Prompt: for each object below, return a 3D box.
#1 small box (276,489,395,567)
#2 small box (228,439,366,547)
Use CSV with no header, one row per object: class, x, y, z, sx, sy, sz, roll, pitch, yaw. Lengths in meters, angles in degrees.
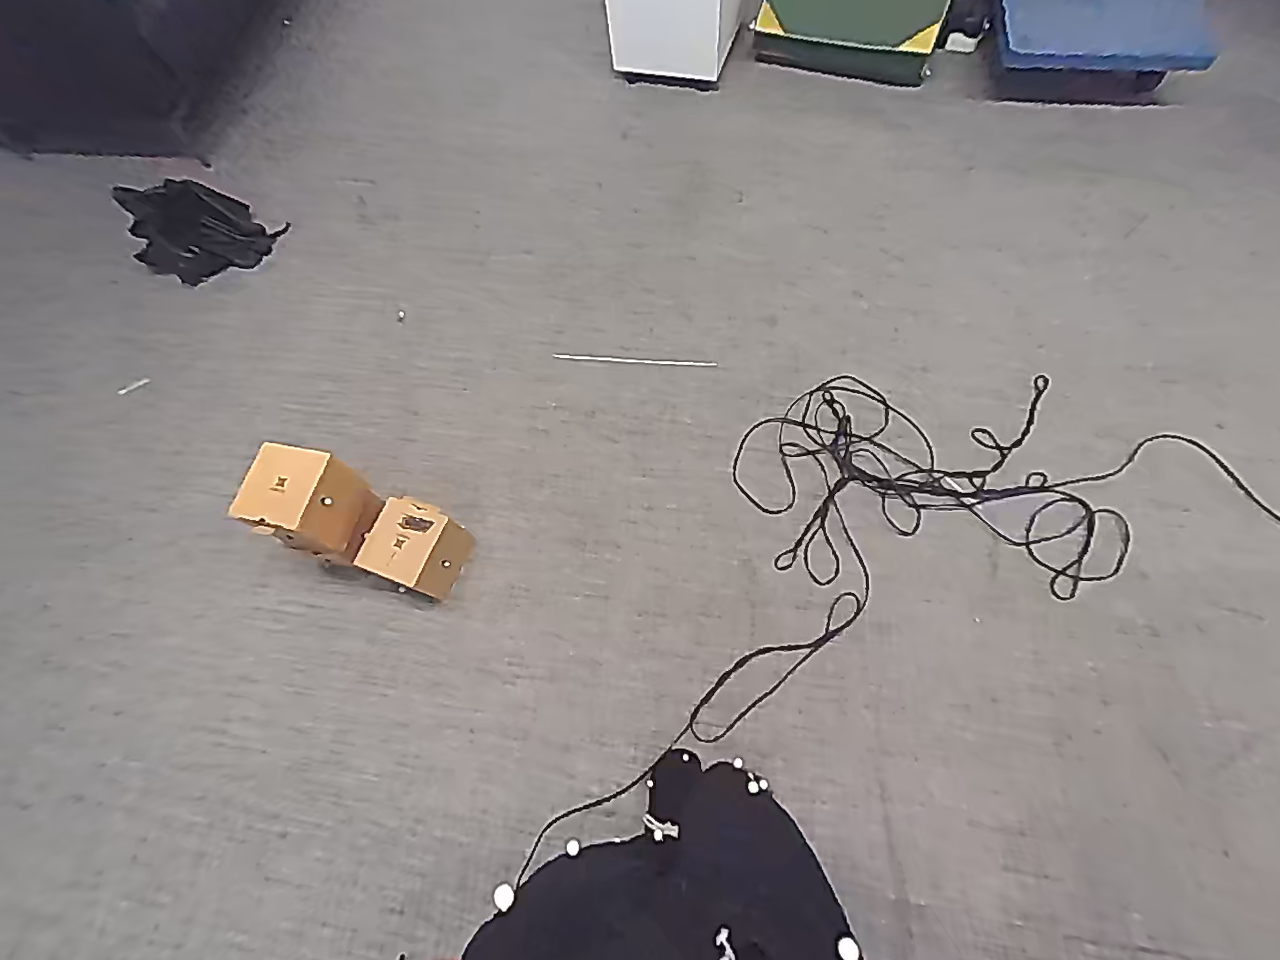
small box,-0.745,0.106,1.345,0.168,0.176,0.179,9,69,9
small box,-0.744,0.033,1.198,0.168,0.176,0.179,10,69,8
